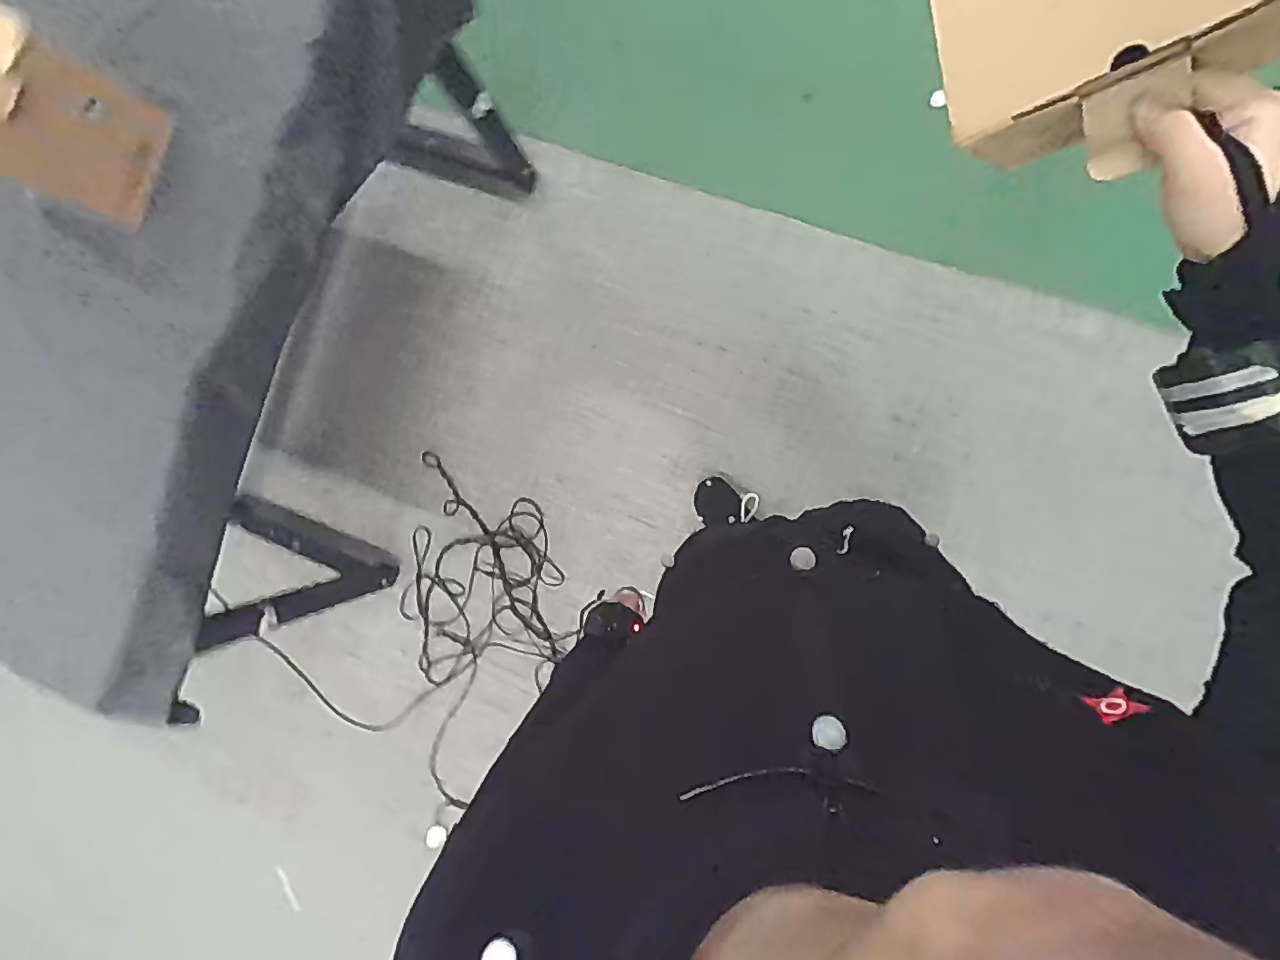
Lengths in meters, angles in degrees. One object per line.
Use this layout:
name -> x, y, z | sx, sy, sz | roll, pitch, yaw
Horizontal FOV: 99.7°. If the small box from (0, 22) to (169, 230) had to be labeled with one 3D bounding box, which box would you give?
small box -> -0.755, -0.442, 0.676 | 0.179, 0.176, 0.168 | 23, 94, 9
